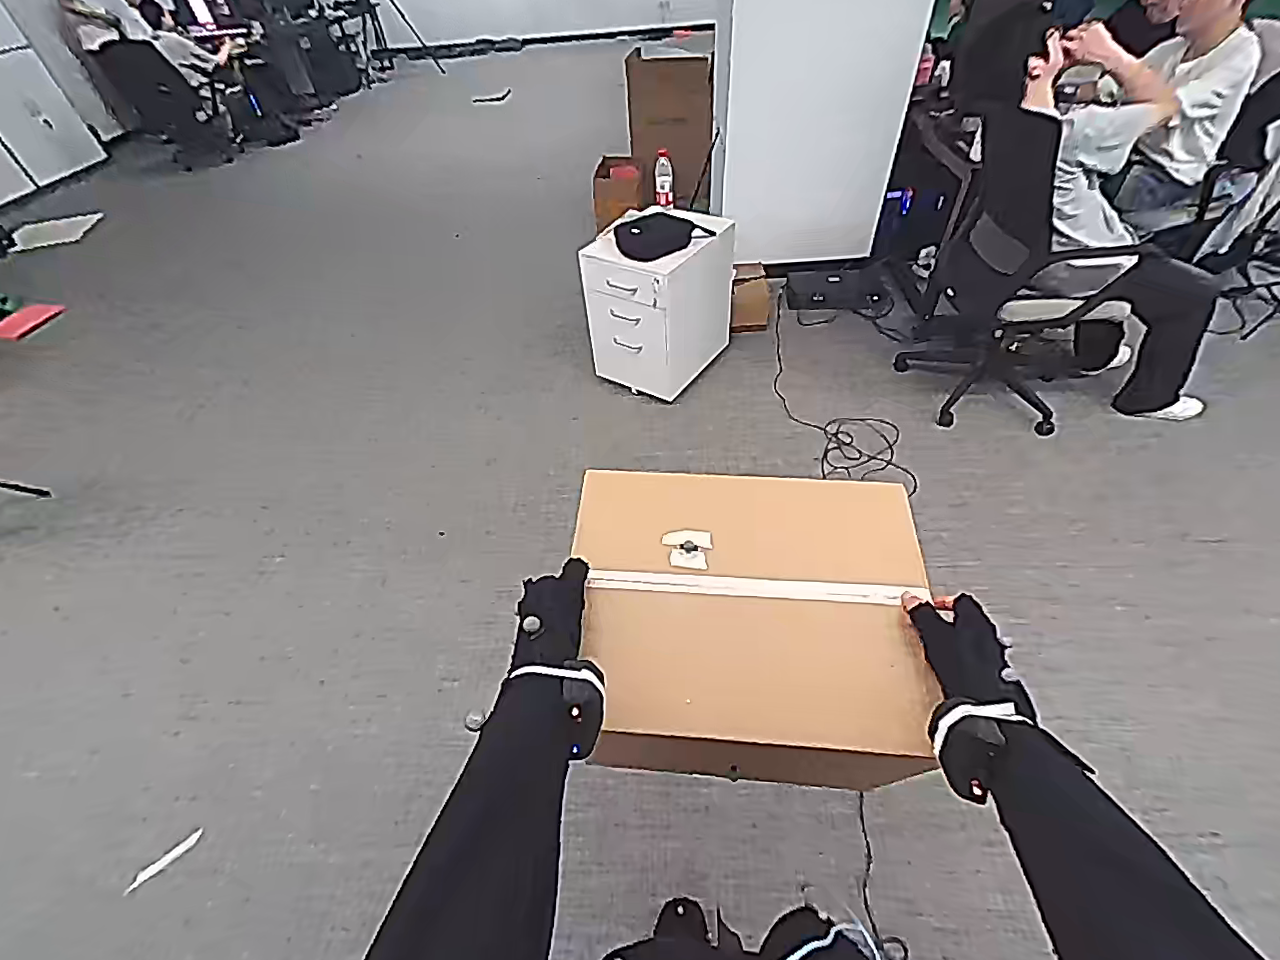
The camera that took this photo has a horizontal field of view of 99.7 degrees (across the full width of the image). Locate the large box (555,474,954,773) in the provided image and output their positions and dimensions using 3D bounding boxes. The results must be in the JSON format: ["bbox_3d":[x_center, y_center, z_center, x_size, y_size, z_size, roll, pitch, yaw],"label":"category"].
[{"bbox_3d":[0.130,0.206,0.745,0.408,0.320,0.320,2,55,5],"label":"large box"}]
